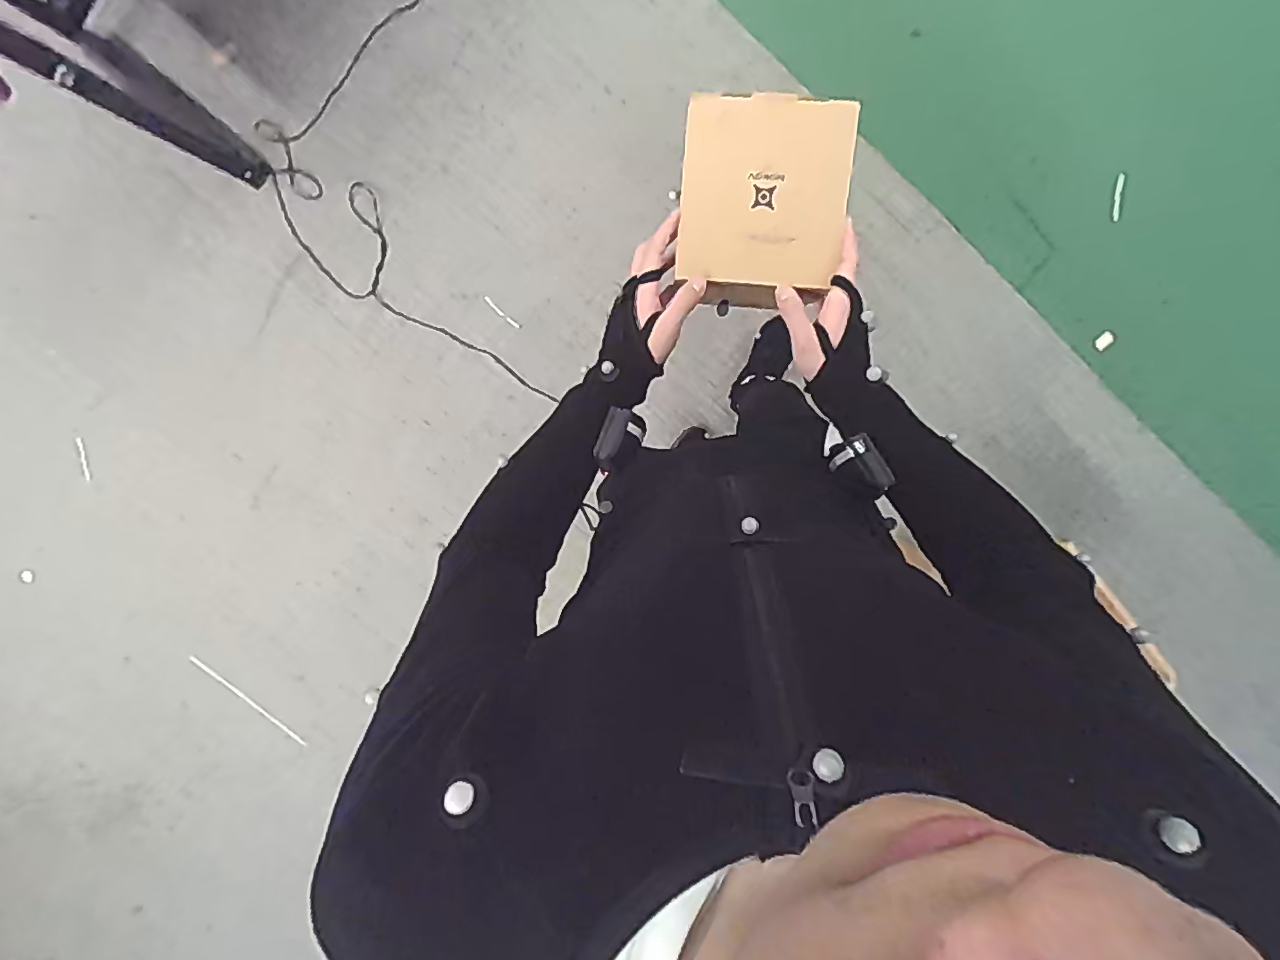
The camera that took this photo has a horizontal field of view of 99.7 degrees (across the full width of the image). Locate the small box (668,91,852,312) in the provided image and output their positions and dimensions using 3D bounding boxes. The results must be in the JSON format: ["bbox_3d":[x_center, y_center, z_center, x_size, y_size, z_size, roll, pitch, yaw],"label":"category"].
[{"bbox_3d":[0.120,-0.297,0.612,0.168,0.176,0.179,5,100,2],"label":"small box"}]
